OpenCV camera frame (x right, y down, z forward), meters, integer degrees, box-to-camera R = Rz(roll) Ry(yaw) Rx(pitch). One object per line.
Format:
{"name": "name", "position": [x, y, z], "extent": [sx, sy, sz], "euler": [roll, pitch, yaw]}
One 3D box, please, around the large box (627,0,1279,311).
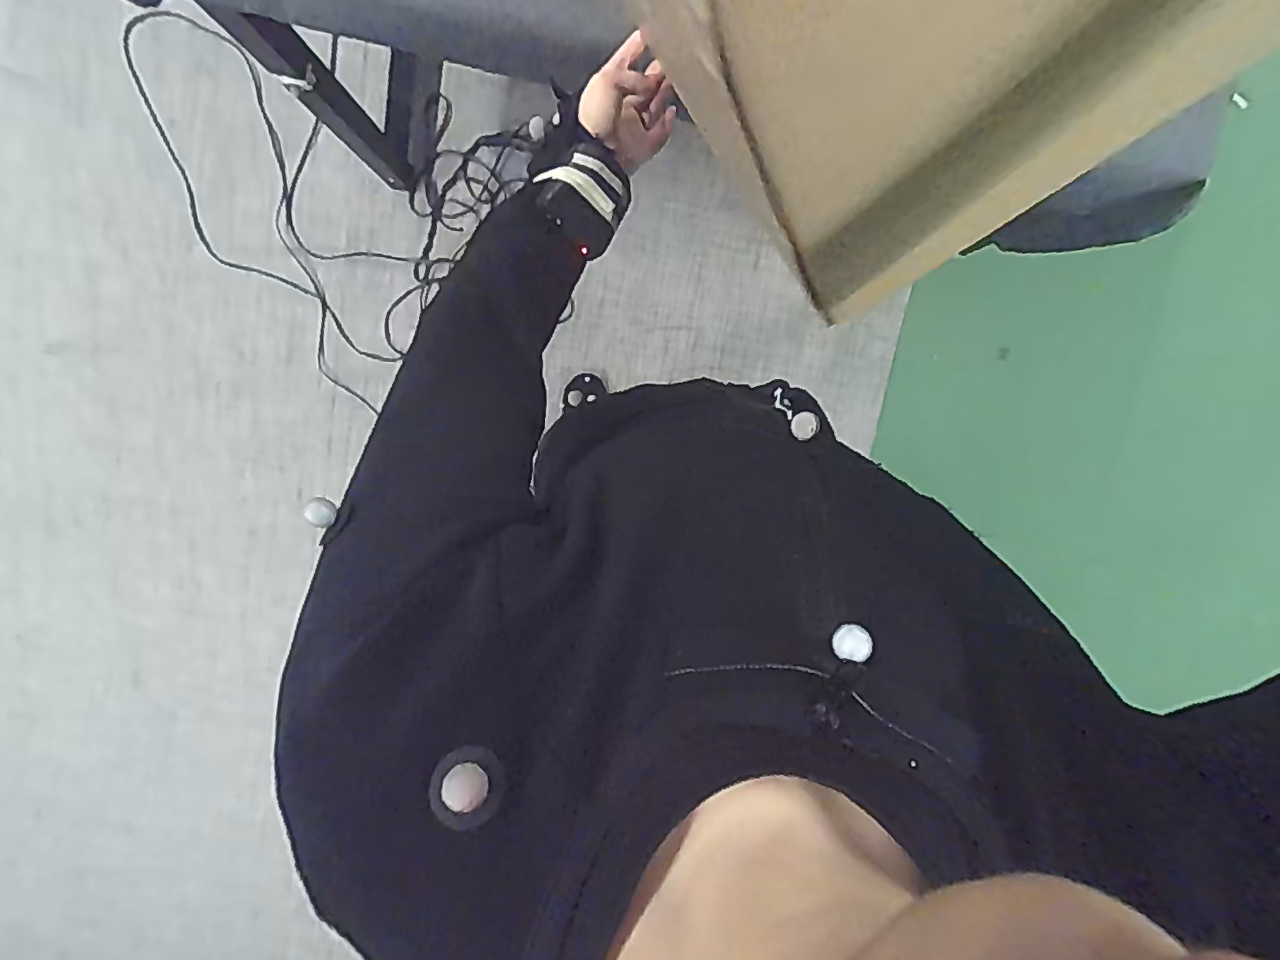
{"name": "large box", "position": [0.173, -0.348, 0.230], "extent": [0.408, 0.320, 0.320], "euler": [-35, 76, 23]}
